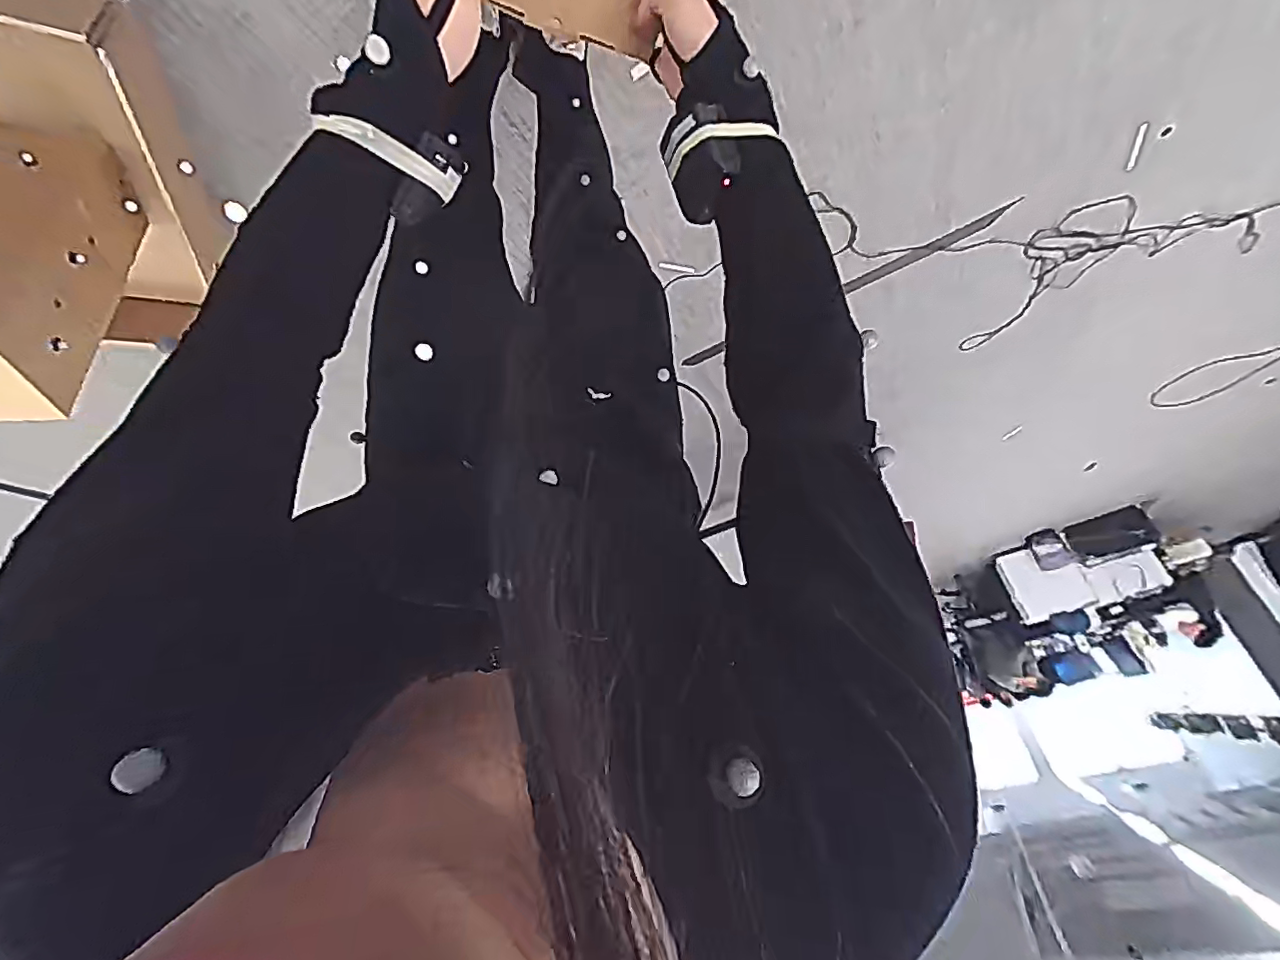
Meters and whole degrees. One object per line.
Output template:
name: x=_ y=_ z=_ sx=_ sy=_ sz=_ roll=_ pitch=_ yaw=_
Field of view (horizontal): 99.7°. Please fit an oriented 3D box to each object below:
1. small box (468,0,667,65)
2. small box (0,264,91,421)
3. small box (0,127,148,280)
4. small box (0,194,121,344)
small box: x=-0.048 y=-0.467 z=0.394 sx=0.168 sy=0.176 sz=0.179 roll=4 pitch=153 yaw=-21
small box: x=-0.968 y=-0.203 z=0.795 sx=0.179 sy=0.176 sz=0.168 roll=-3 pitch=149 yaw=-17
small box: x=-1.026 y=-0.485 z=0.952 sx=0.179 sy=0.176 sz=0.168 roll=-1 pitch=150 yaw=-21
small box: x=-1.001 y=-0.343 z=0.879 sx=0.179 sy=0.176 sz=0.168 roll=-1 pitch=149 yaw=-16
